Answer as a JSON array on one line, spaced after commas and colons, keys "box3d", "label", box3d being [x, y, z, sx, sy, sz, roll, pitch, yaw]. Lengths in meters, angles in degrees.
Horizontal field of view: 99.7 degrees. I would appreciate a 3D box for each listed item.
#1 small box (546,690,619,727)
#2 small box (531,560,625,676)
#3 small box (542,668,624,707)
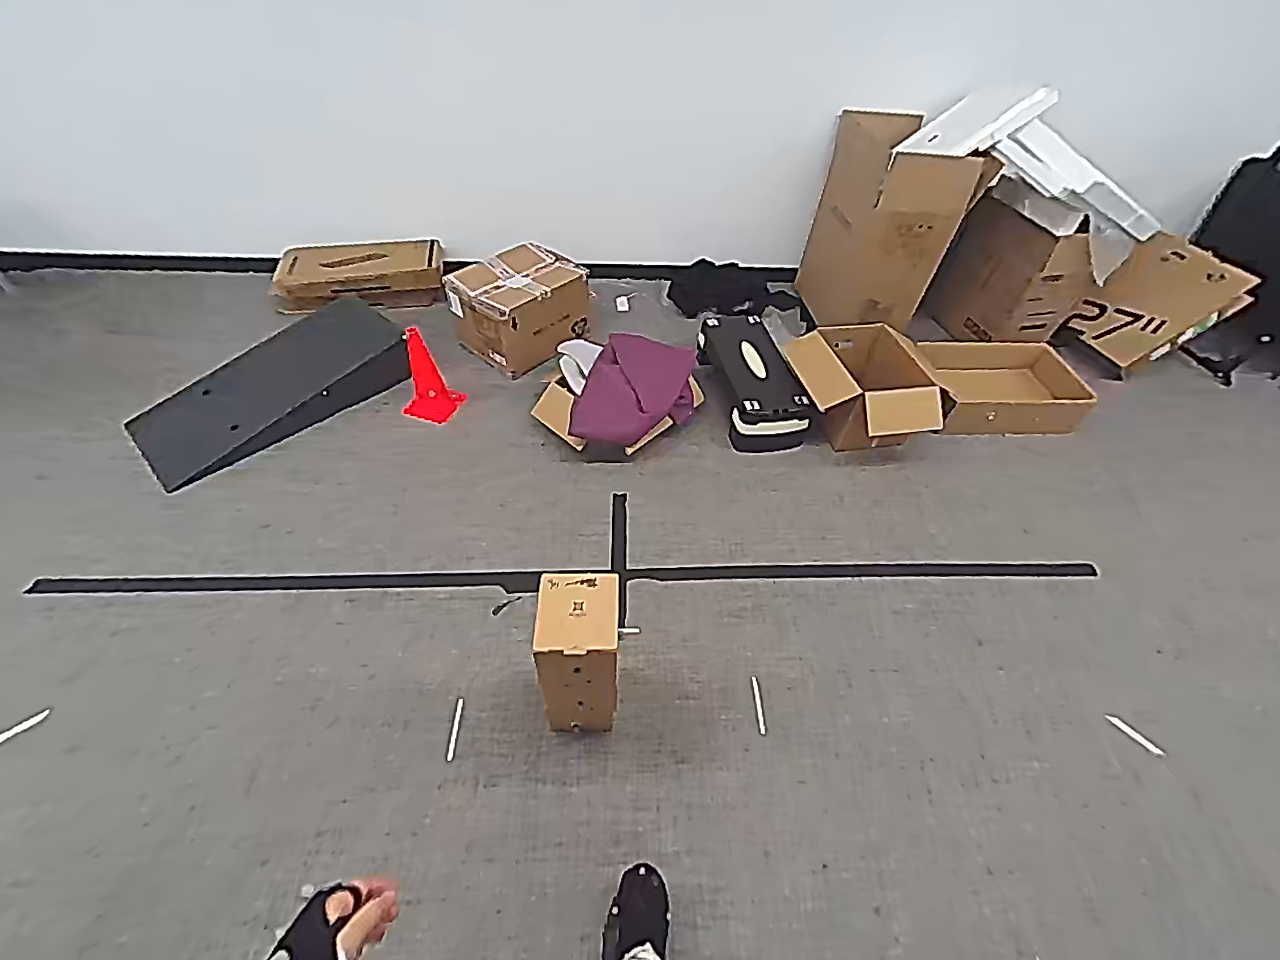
[{"box3d": [-0.135, 0.487, 1.323, 0.168, 0.176, 0.179, -1, 50, -3], "label": "small box"}, {"box3d": [-0.114, 0.276, 1.071, 0.168, 0.176, 0.179, 0, 49, -2], "label": "small box"}, {"box3d": [-0.120, 0.384, 1.194, 0.168, 0.176, 0.179, 0, 48, -2], "label": "small box"}]
